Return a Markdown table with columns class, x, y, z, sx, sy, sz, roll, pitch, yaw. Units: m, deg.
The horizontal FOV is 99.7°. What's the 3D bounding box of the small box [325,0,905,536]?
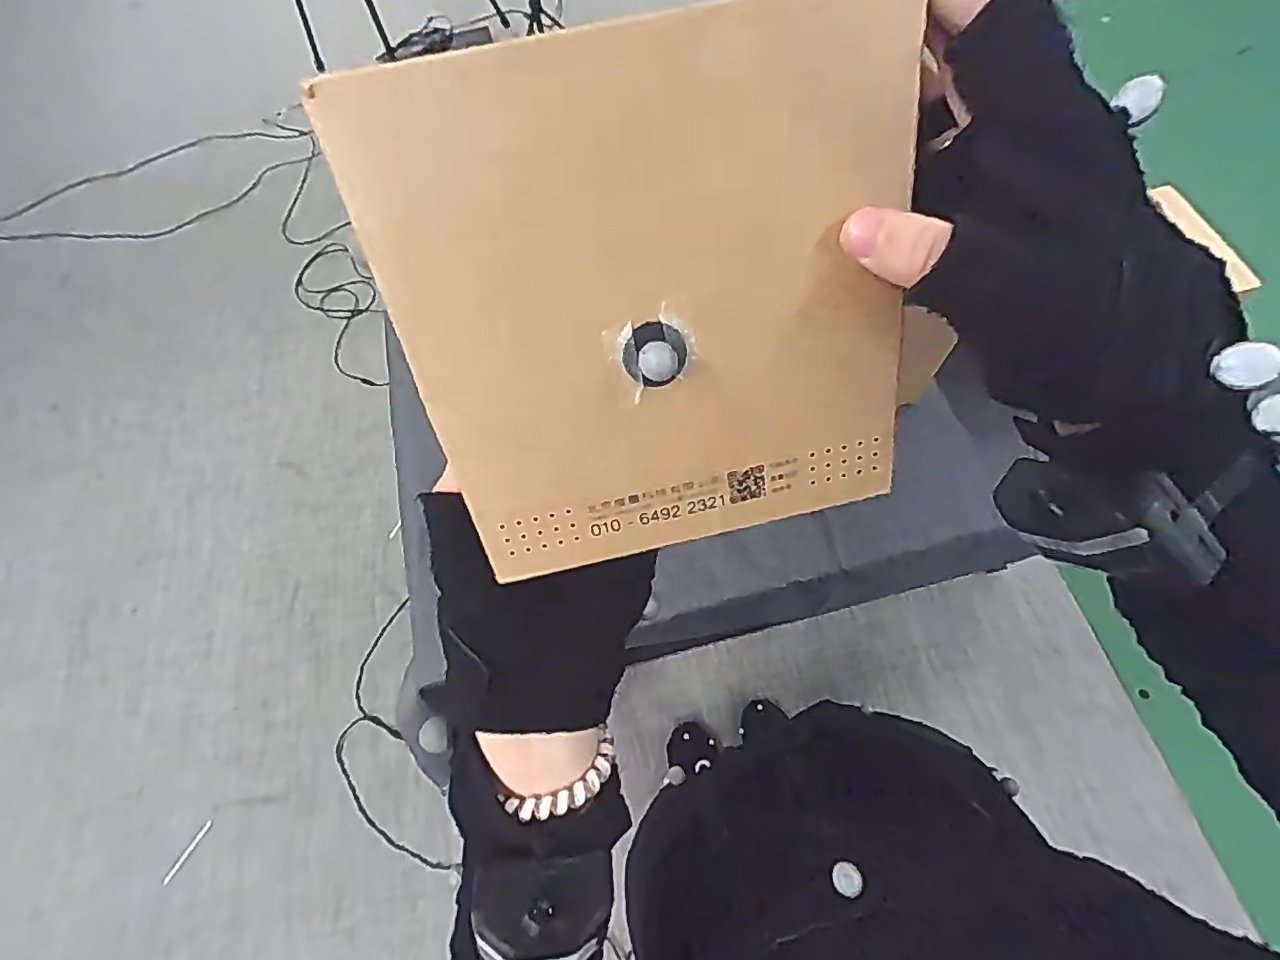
| class | x | y | z | sx | sy | sz | roll | pitch | yaw |
| --- | --- | --- | --- | --- | --- | --- | --- | --- | --- |
| small box | -0.001 | -0.089 | 0.255 | 0.168 | 0.176 | 0.179 | -12 | 30 | -2 |
